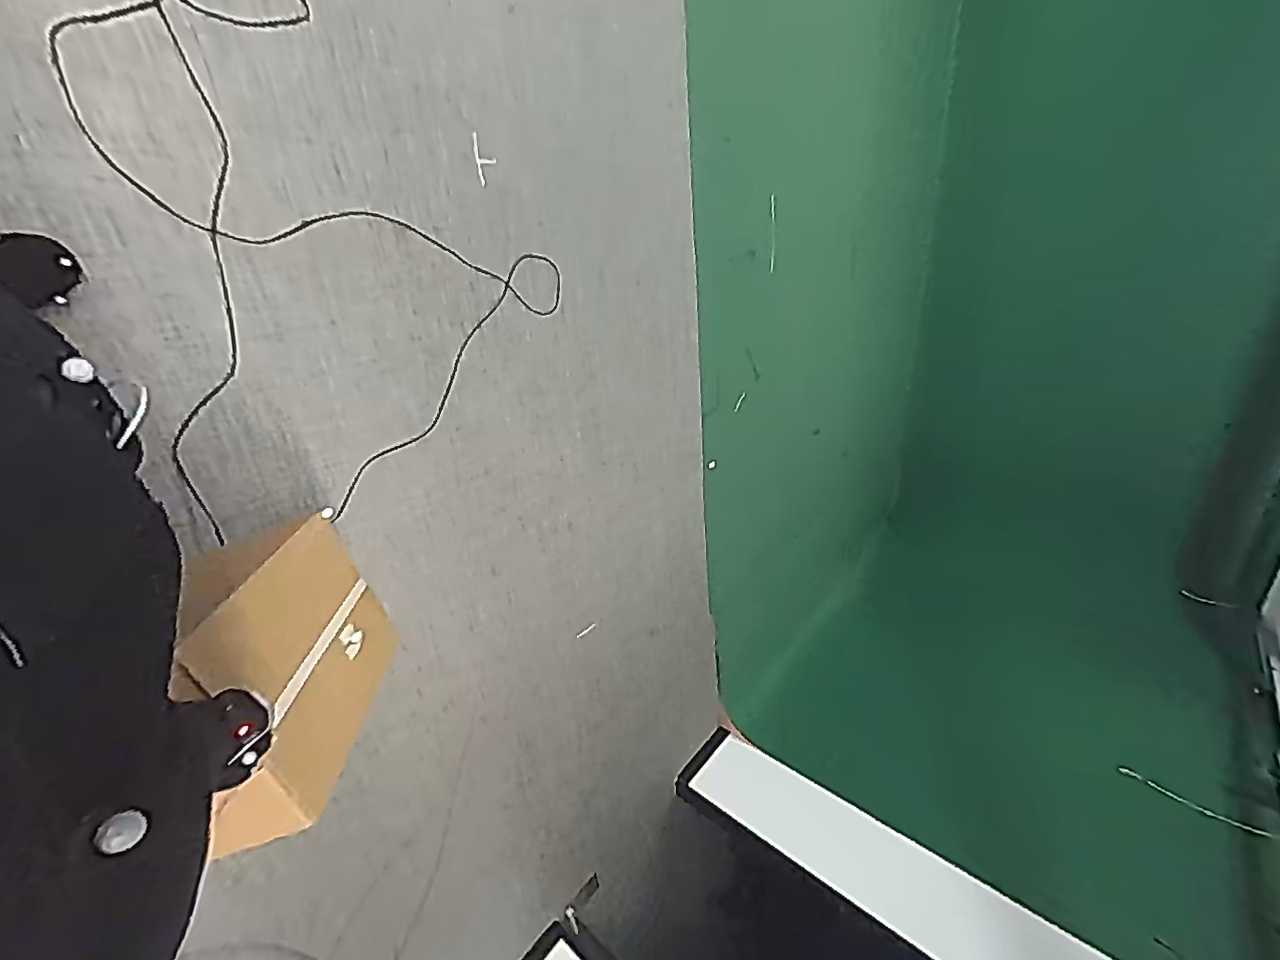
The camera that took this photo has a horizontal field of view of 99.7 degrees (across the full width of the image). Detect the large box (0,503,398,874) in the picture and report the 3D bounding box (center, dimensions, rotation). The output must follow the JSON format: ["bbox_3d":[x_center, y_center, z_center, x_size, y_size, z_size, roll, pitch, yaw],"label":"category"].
[{"bbox_3d":[-0.658,0.296,0.865,0.320,0.408,0.320,-20,112,0],"label":"large box"}]
